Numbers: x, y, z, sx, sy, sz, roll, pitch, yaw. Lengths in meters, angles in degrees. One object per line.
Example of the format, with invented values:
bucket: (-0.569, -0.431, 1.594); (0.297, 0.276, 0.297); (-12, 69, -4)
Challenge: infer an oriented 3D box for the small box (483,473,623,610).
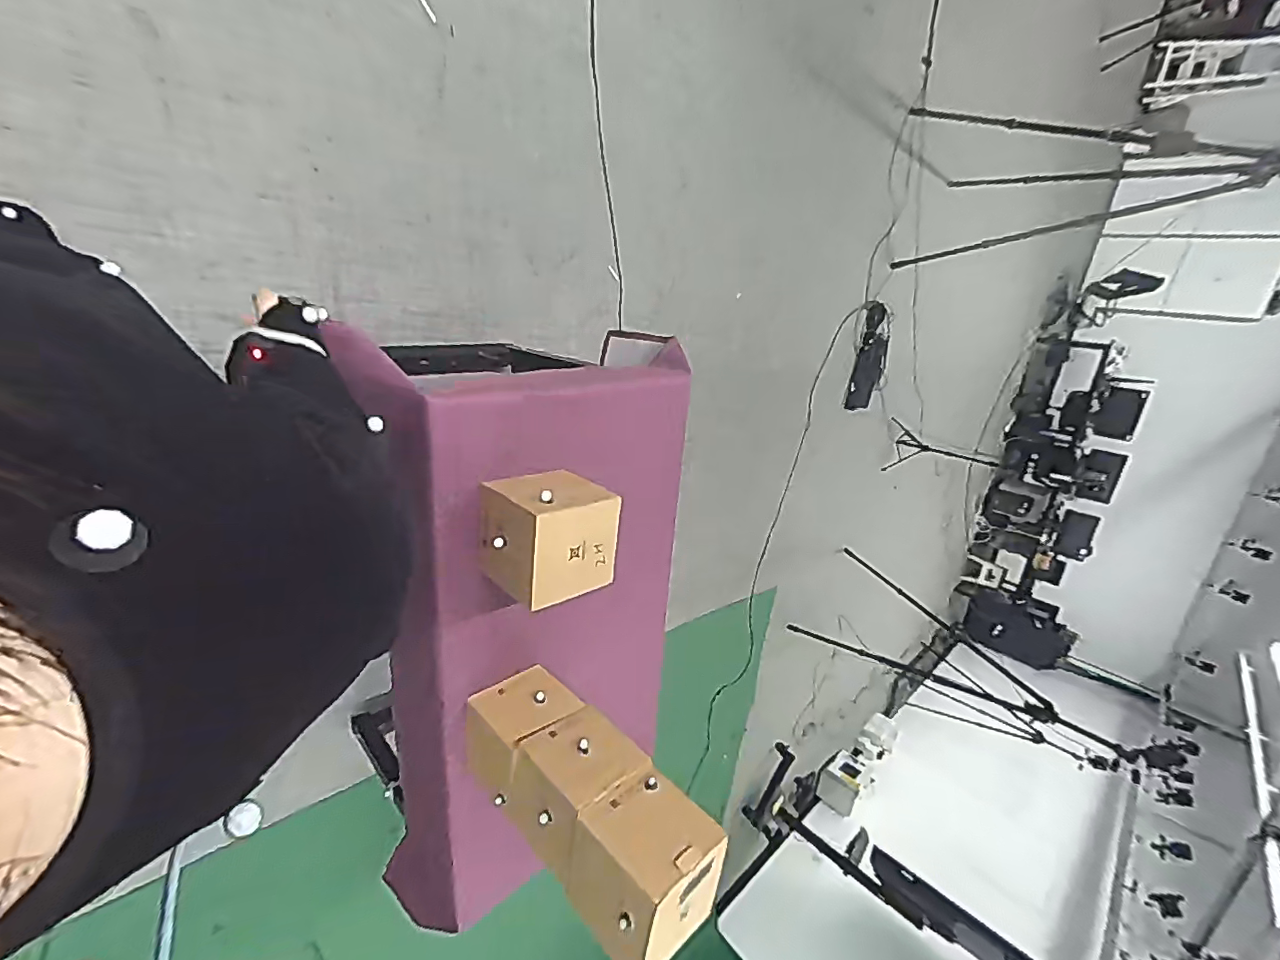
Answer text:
small box: (-0.156, 0.095, 0.937); (0.179, 0.176, 0.168); (-11, 116, -44)

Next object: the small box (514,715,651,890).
small box: (-0.105, 0.544, 0.947); (0.168, 0.176, 0.179); (-8, 113, -44)

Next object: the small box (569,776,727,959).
small box: (0.007, 0.601, 0.841); (0.168, 0.176, 0.179); (-9, 115, -45)

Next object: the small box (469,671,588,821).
small box: (-0.220, 0.501, 1.056); (0.168, 0.176, 0.179); (-13, 117, -43)
